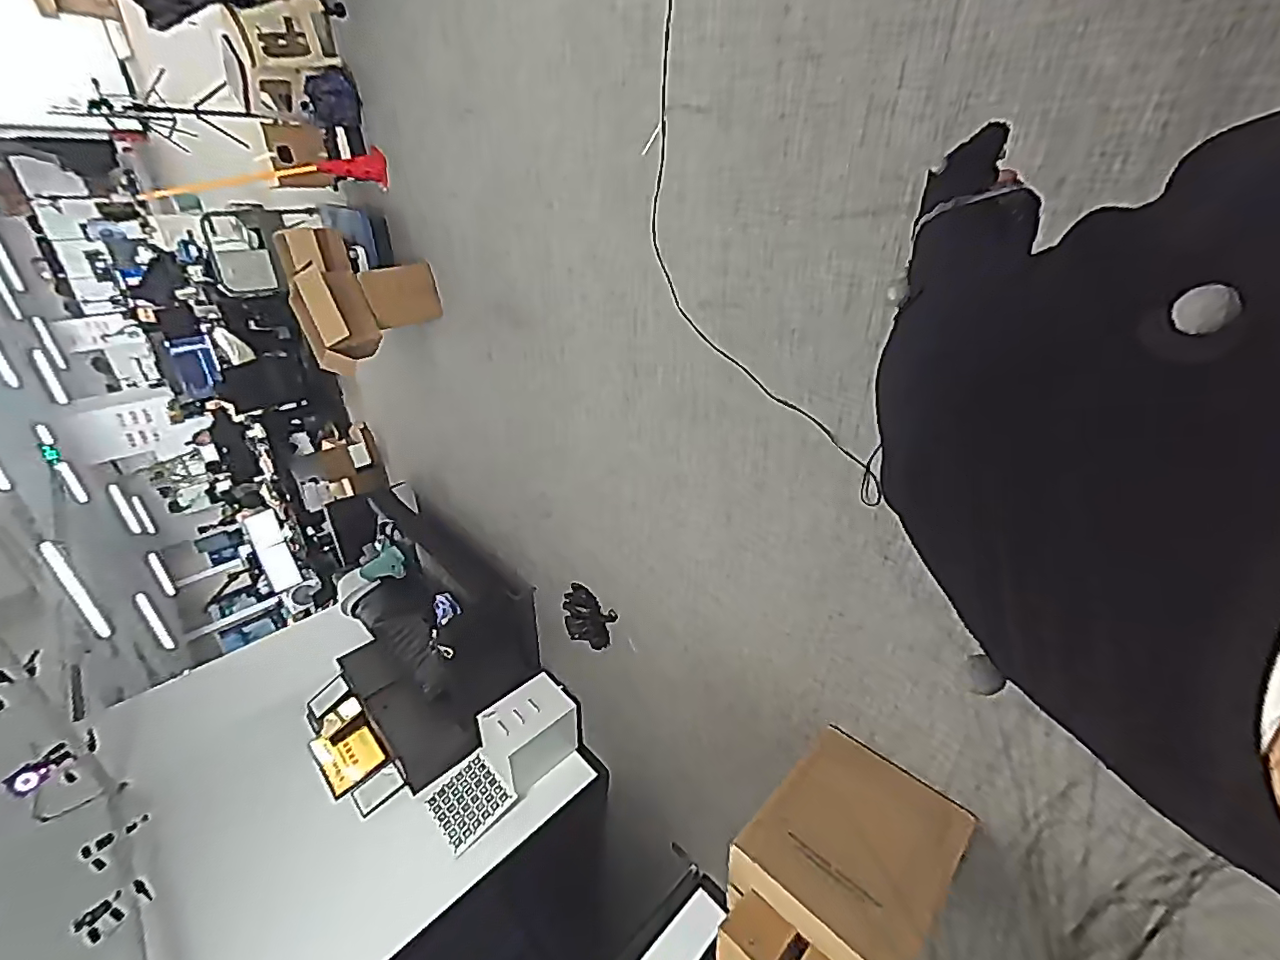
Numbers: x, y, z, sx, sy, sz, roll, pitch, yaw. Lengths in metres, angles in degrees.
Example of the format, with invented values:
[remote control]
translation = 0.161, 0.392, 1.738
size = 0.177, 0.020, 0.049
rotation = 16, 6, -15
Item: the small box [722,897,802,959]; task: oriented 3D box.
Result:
[small box]
translation = 0.368, 1.430, 1.635
size = 0.179, 0.176, 0.168
rotation = 20, 118, 44
